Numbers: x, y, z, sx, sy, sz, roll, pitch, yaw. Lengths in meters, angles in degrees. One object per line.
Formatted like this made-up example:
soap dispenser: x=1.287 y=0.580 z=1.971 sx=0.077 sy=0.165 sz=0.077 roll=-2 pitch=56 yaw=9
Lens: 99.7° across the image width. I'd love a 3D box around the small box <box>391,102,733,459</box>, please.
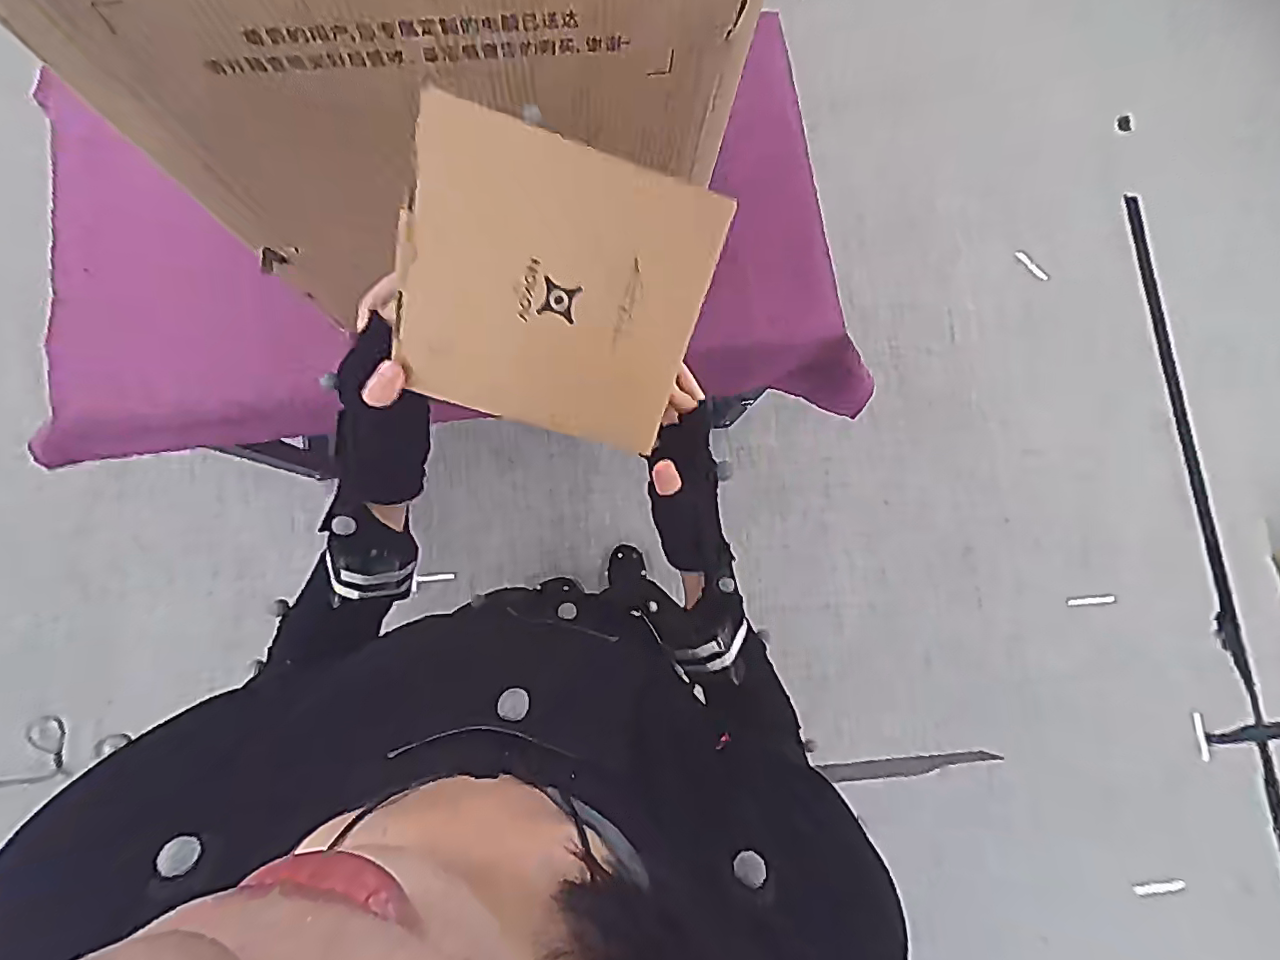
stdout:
small box: x=-0.056 y=-0.142 z=0.400 sx=0.179 sy=0.176 sz=0.168 roll=16 pitch=116 yaw=-10
